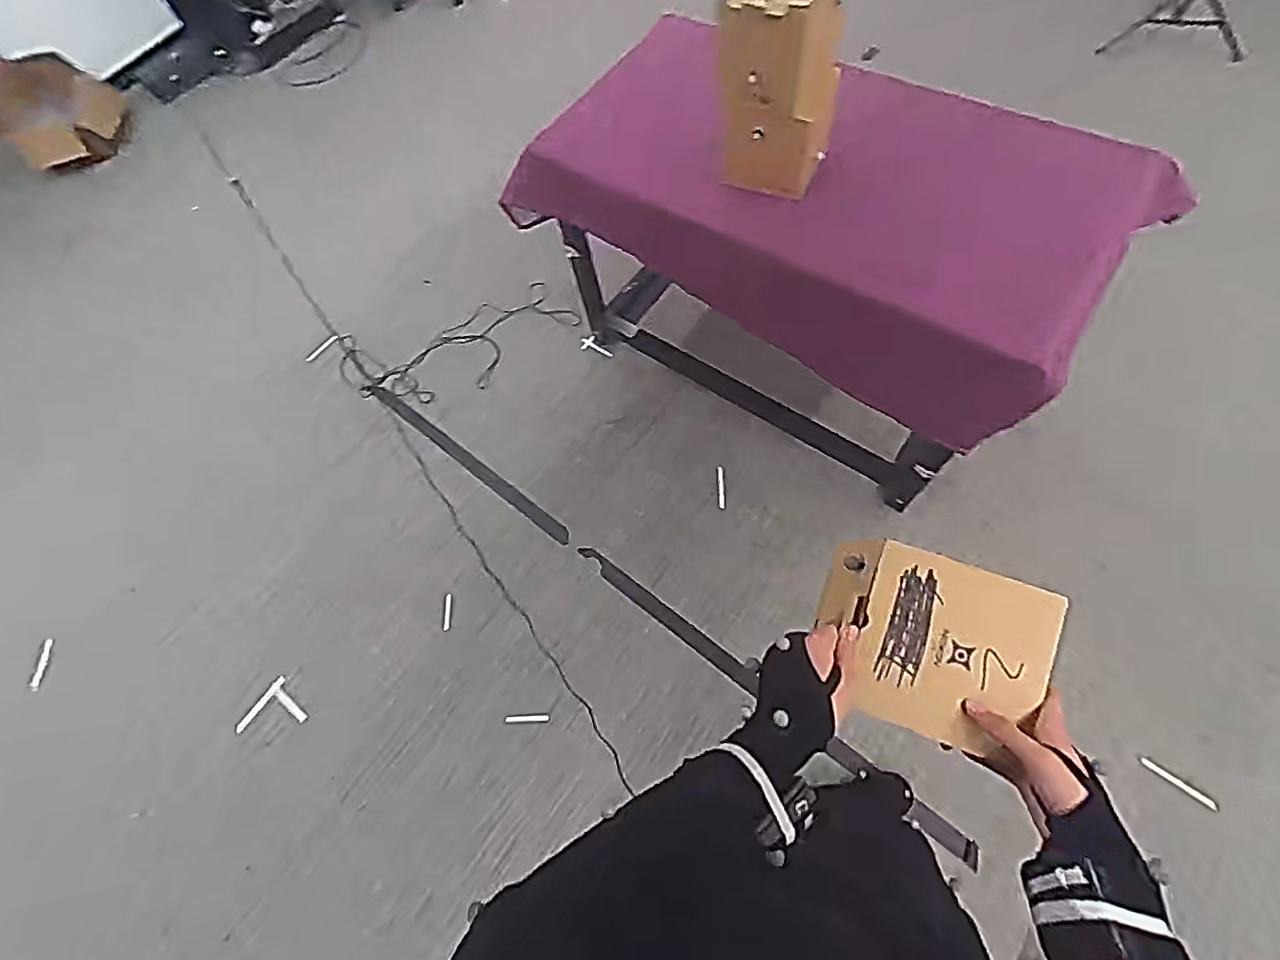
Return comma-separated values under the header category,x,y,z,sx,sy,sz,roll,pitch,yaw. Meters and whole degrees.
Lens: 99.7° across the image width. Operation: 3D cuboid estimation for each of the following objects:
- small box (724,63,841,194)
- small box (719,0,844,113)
category,x,y,z,sx,sy,sz,roll,pitch,yaw
small box,0.279,-0.714,1.093,0.179,0.176,0.168,23,71,16
small box,0.246,-0.797,0.952,0.168,0.176,0.179,28,72,19
